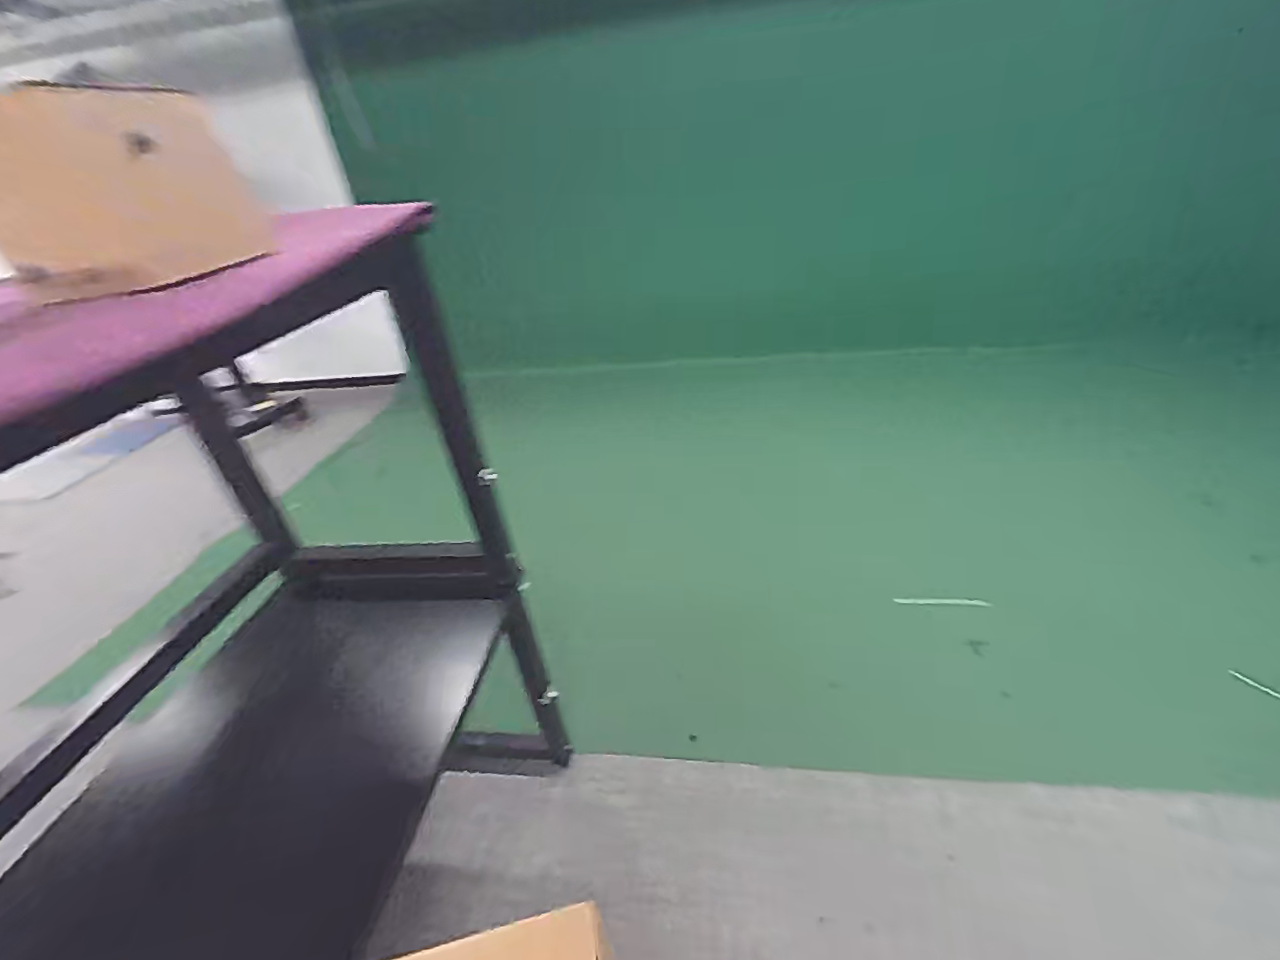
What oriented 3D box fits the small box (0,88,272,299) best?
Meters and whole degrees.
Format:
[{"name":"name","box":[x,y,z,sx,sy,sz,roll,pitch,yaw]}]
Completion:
[{"name":"small box","box":[-0.552,-0.300,0.582,0.168,0.176,0.179,-3,32,11]}]
